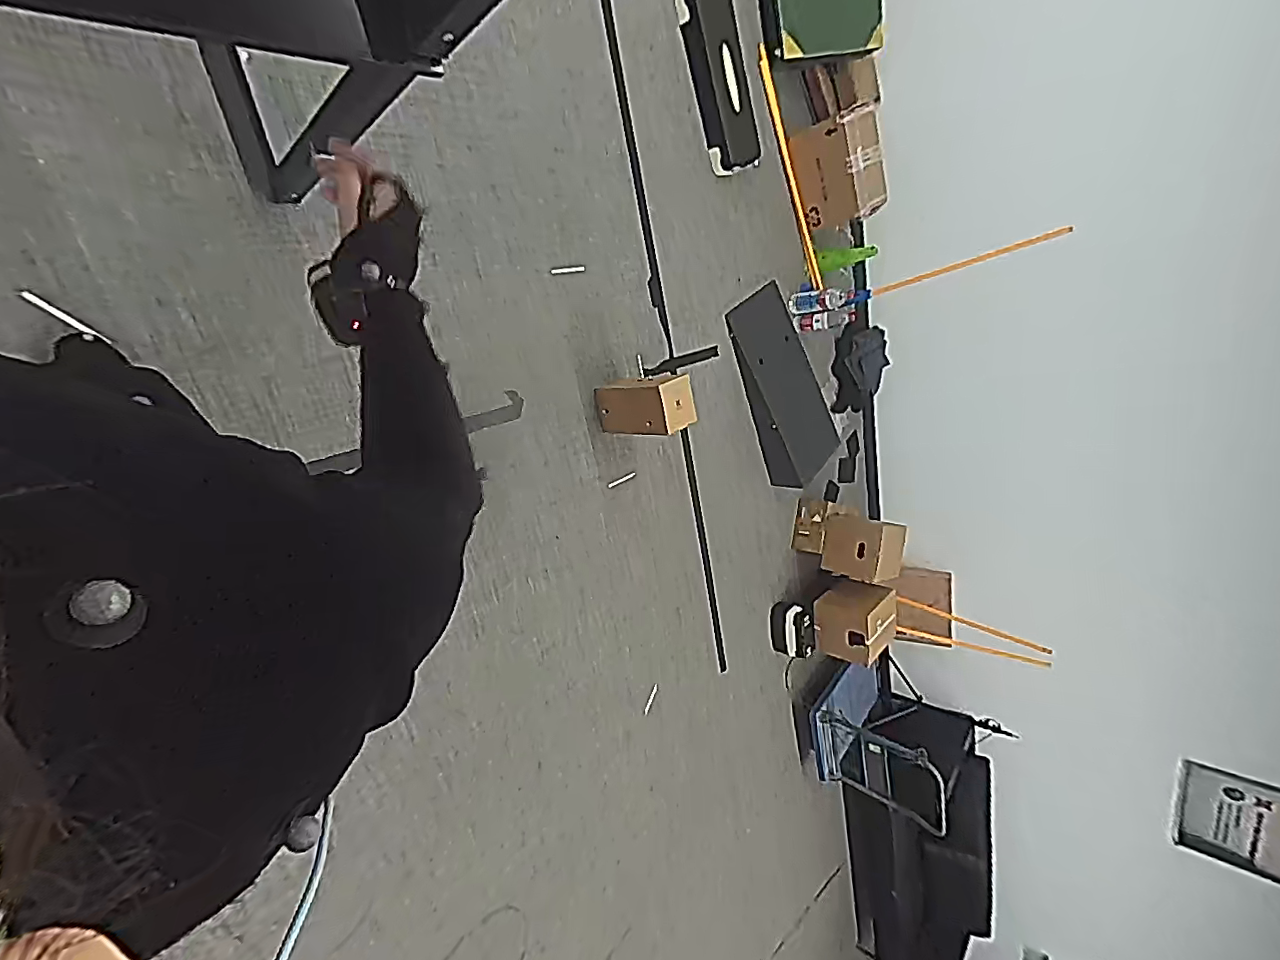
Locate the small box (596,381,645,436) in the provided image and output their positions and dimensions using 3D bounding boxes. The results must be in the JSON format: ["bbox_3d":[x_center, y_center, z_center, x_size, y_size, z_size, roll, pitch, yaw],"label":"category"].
[{"bbox_3d":[-0.042,-0.273,2.022,0.168,0.176,0.179,-27,115,-41],"label":"small box"}]

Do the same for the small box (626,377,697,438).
[{"bbox_3d":[0.074,-0.259,1.906,0.168,0.176,0.179,-30,115,-40],"label":"small box"}]
